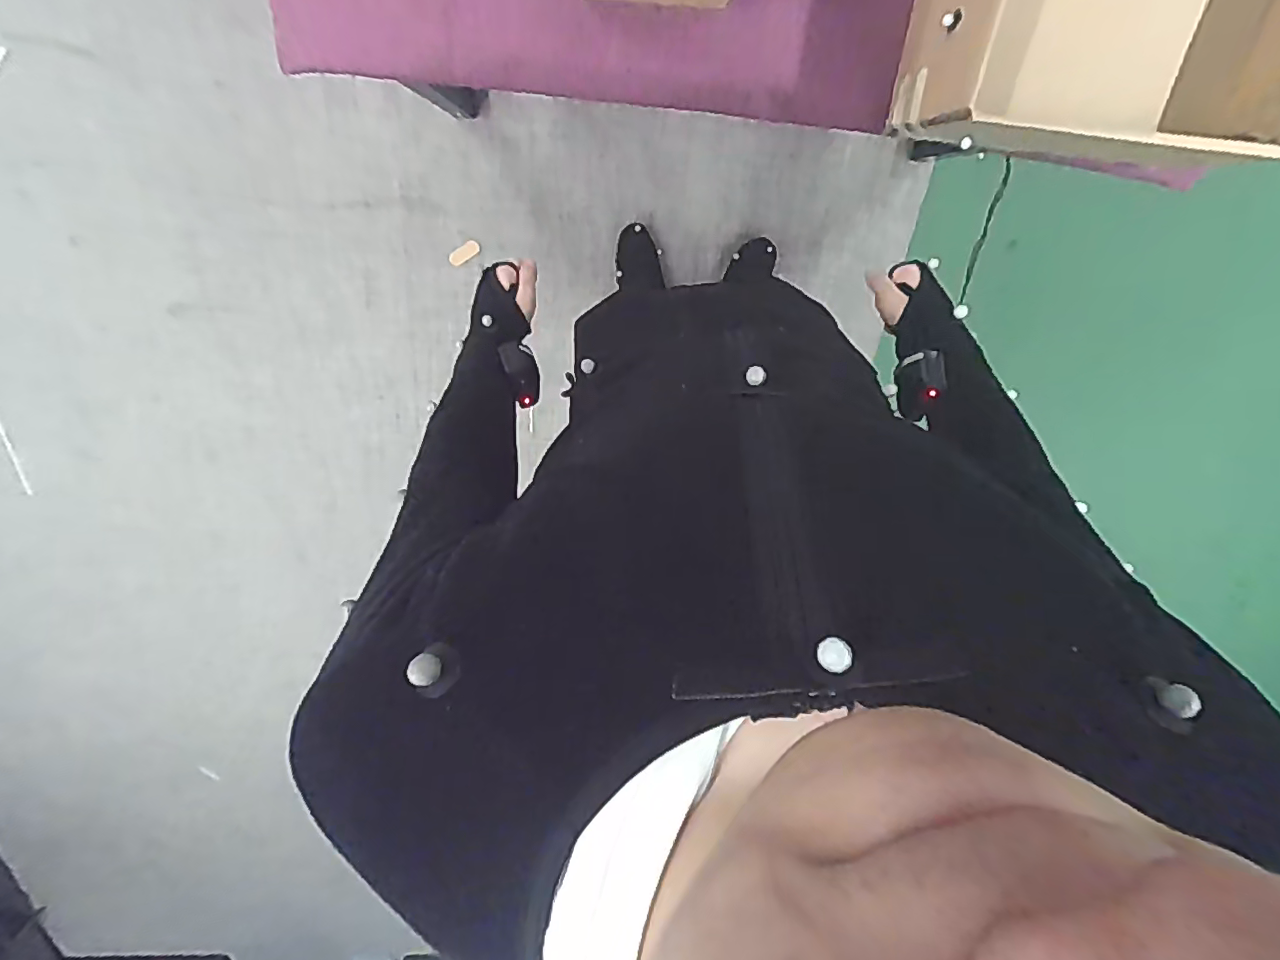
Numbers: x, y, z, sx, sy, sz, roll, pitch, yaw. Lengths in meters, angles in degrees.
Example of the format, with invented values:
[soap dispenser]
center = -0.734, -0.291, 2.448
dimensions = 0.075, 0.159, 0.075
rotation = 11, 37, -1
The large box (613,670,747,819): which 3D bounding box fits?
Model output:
[large box]
center = 0.141, 1.009, 2.078
dimensions = 0.408, 0.320, 0.320
rotation = -25, 116, 8
